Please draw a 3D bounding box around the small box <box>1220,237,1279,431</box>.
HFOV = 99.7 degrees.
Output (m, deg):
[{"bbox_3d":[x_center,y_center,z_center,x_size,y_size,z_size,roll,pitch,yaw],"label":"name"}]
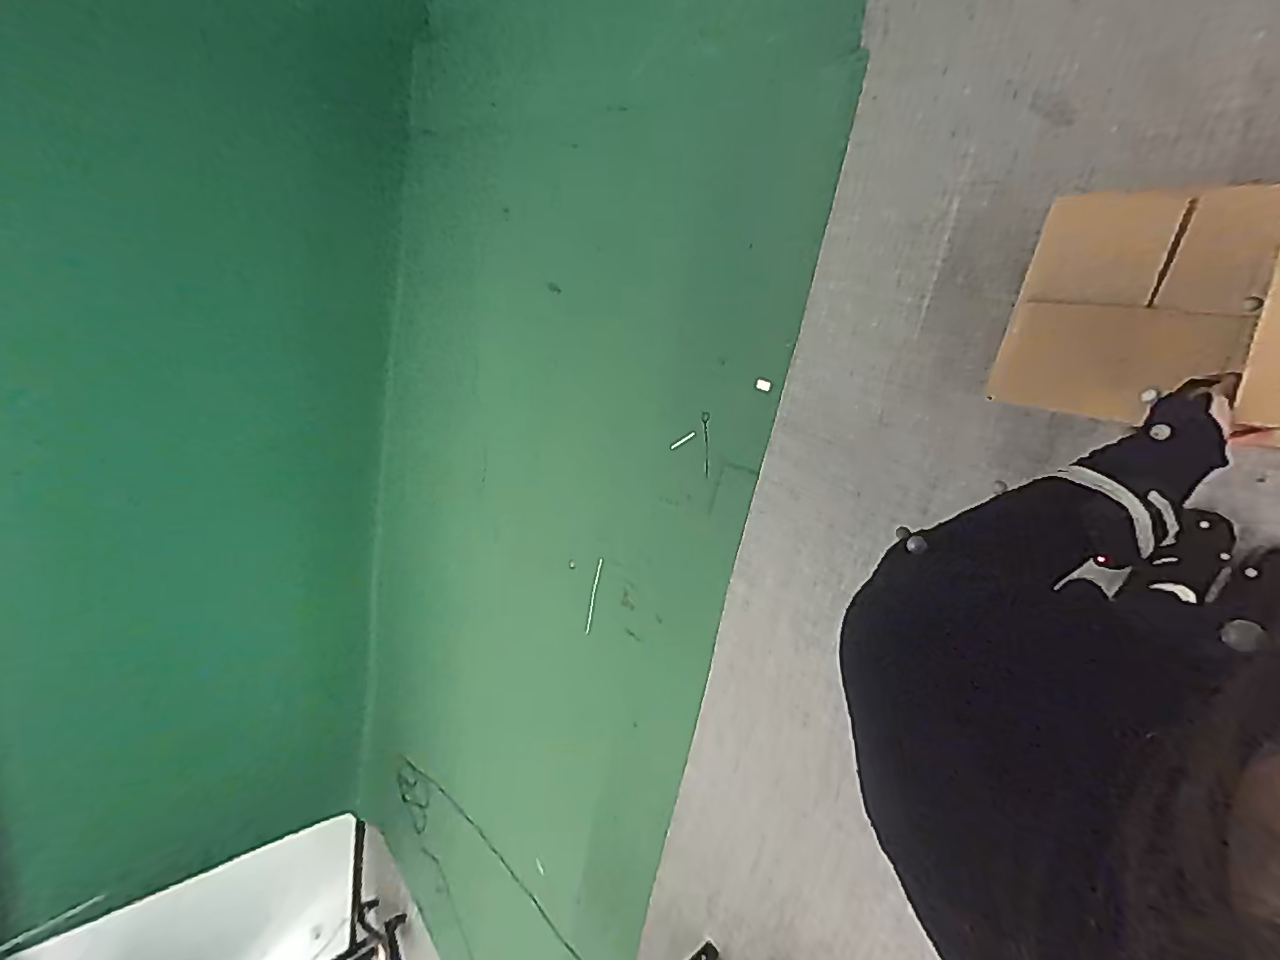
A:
[{"bbox_3d":[0.604,-0.120,0.431,0.168,0.176,0.179,18,109,45],"label":"small box"}]
